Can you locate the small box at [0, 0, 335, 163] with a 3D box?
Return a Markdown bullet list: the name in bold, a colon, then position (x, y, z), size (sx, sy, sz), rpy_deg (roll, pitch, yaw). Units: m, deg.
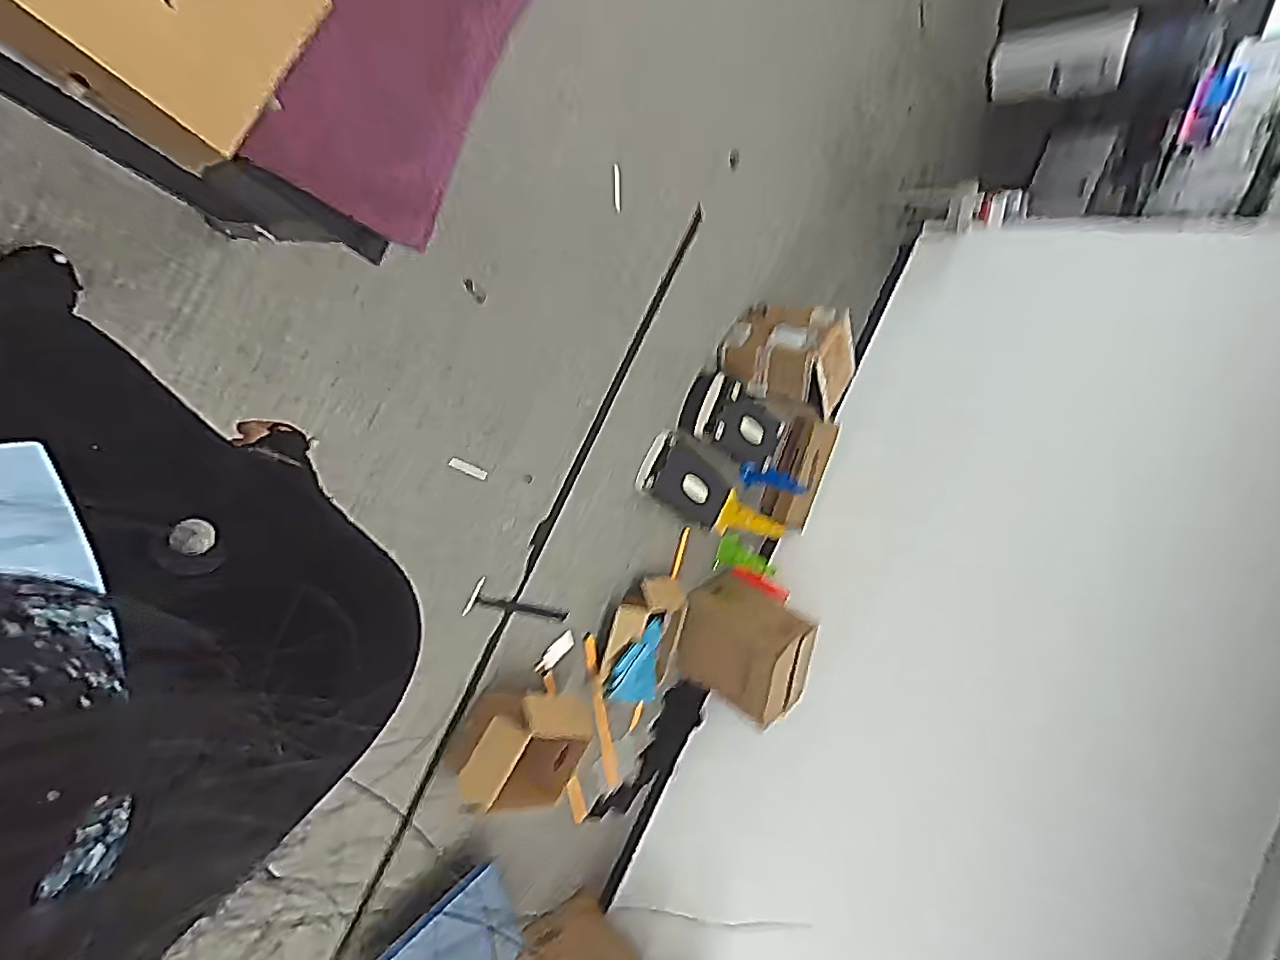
- **small box**: position (-0.403, -0.395, 0.448), size (0.168, 0.176, 0.179), rpy_deg (37, 78, -52)
